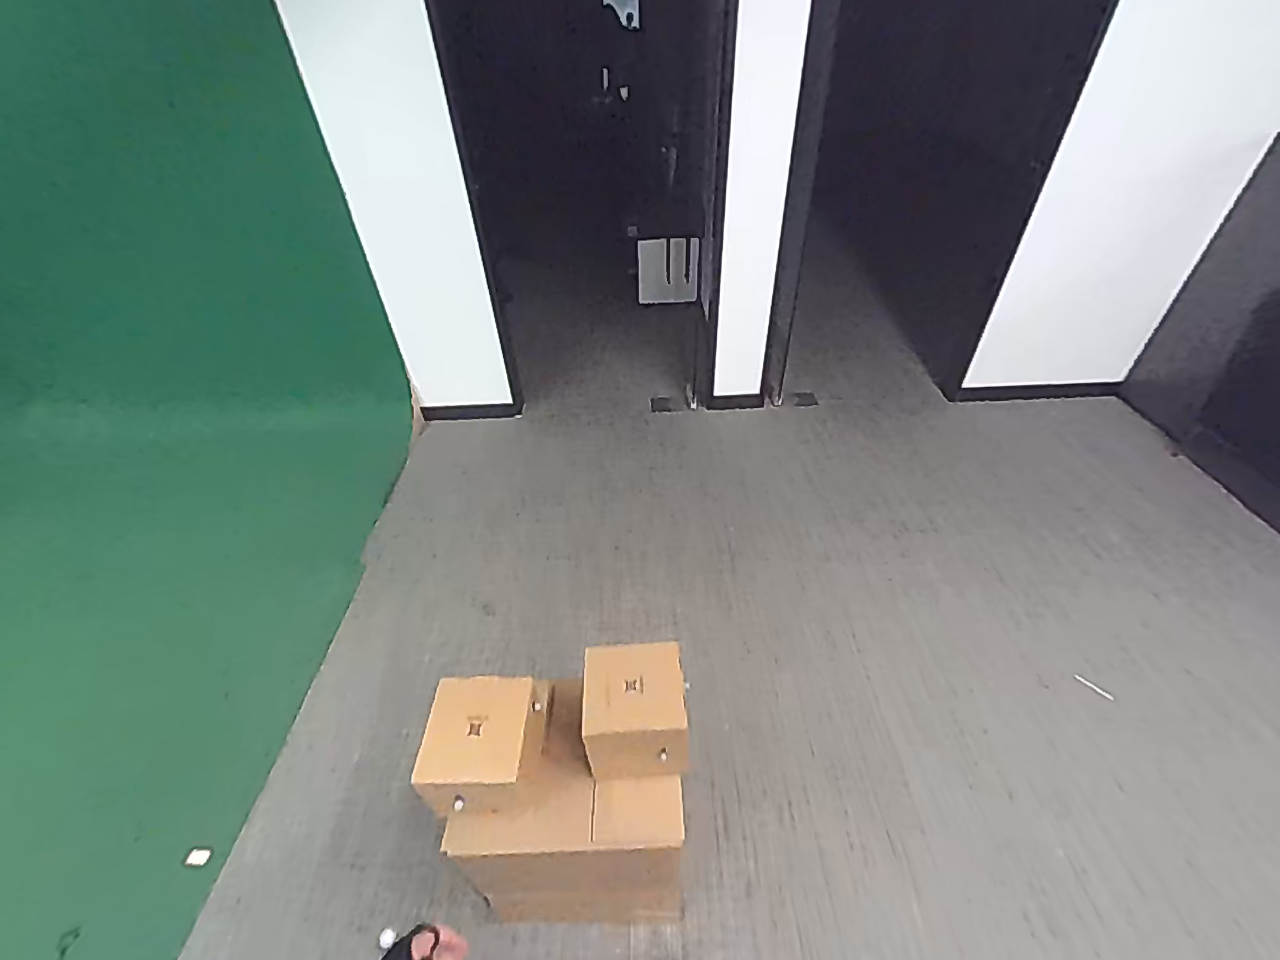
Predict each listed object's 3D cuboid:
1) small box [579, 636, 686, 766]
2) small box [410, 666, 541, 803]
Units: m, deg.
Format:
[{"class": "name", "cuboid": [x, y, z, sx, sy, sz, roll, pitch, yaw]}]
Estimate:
[{"class": "small box", "cuboid": [-0.010, 0.405, 0.990, 0.179, 0.176, 0.168, -3, 40, 1]}, {"class": "small box", "cuboid": [-0.274, 0.449, 0.950, 0.168, 0.176, 0.179, 0, 42, 1]}]
